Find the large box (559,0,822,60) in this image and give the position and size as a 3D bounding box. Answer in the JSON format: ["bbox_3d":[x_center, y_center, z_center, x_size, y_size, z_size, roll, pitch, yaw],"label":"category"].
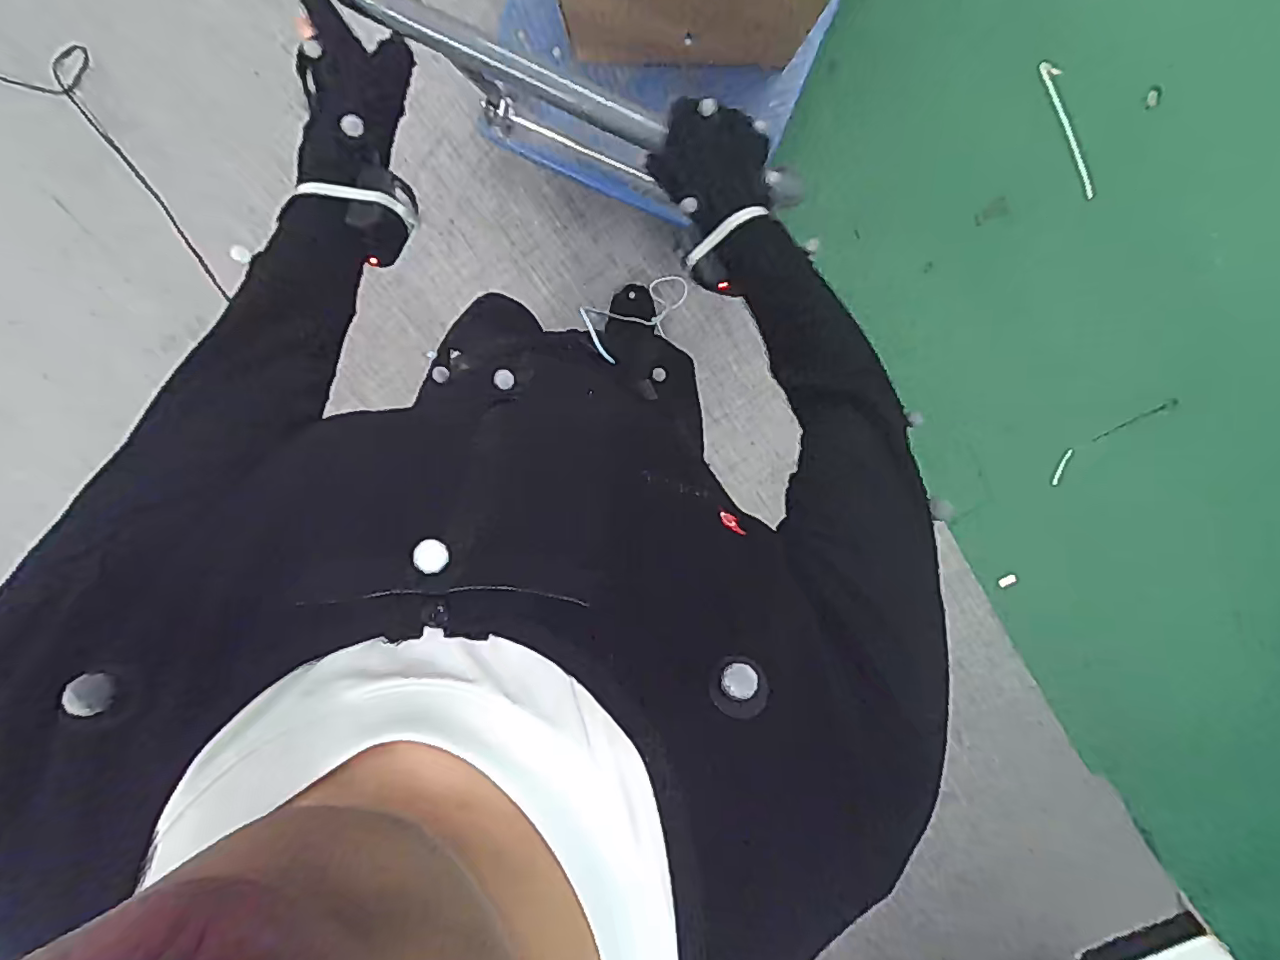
[{"bbox_3d":[0.080,-0.892,0.840,0.408,0.320,0.320,2,110,0],"label":"large box"}]
